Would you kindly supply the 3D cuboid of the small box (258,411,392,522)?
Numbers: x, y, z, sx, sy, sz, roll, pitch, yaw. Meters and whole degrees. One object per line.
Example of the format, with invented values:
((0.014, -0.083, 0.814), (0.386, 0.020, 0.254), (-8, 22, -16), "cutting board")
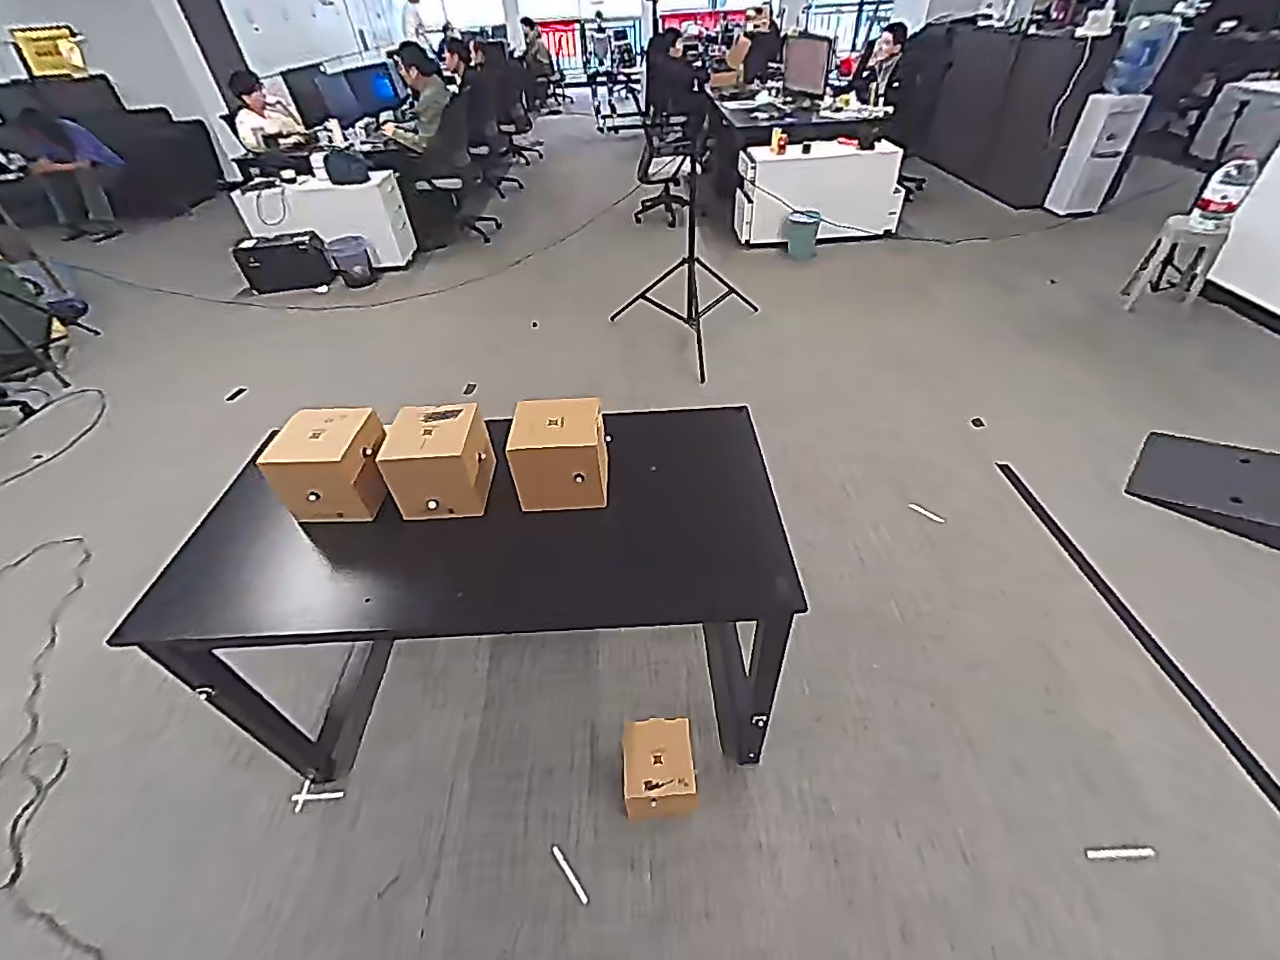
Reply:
((-0.638, -0.024, 1.134), (0.168, 0.176, 0.179), (-1, 42, 3), "small box")

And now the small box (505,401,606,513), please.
((-0.165, -0.046, 1.126), (0.179, 0.176, 0.168), (-4, 41, 1), "small box")

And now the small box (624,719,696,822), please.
((0.046, 0.722, 1.343), (0.168, 0.176, 0.179), (-4, 42, 0), "small box")

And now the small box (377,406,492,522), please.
((-0.414, -0.033, 1.126), (0.168, 0.176, 0.179), (-4, 43, 0), "small box")
